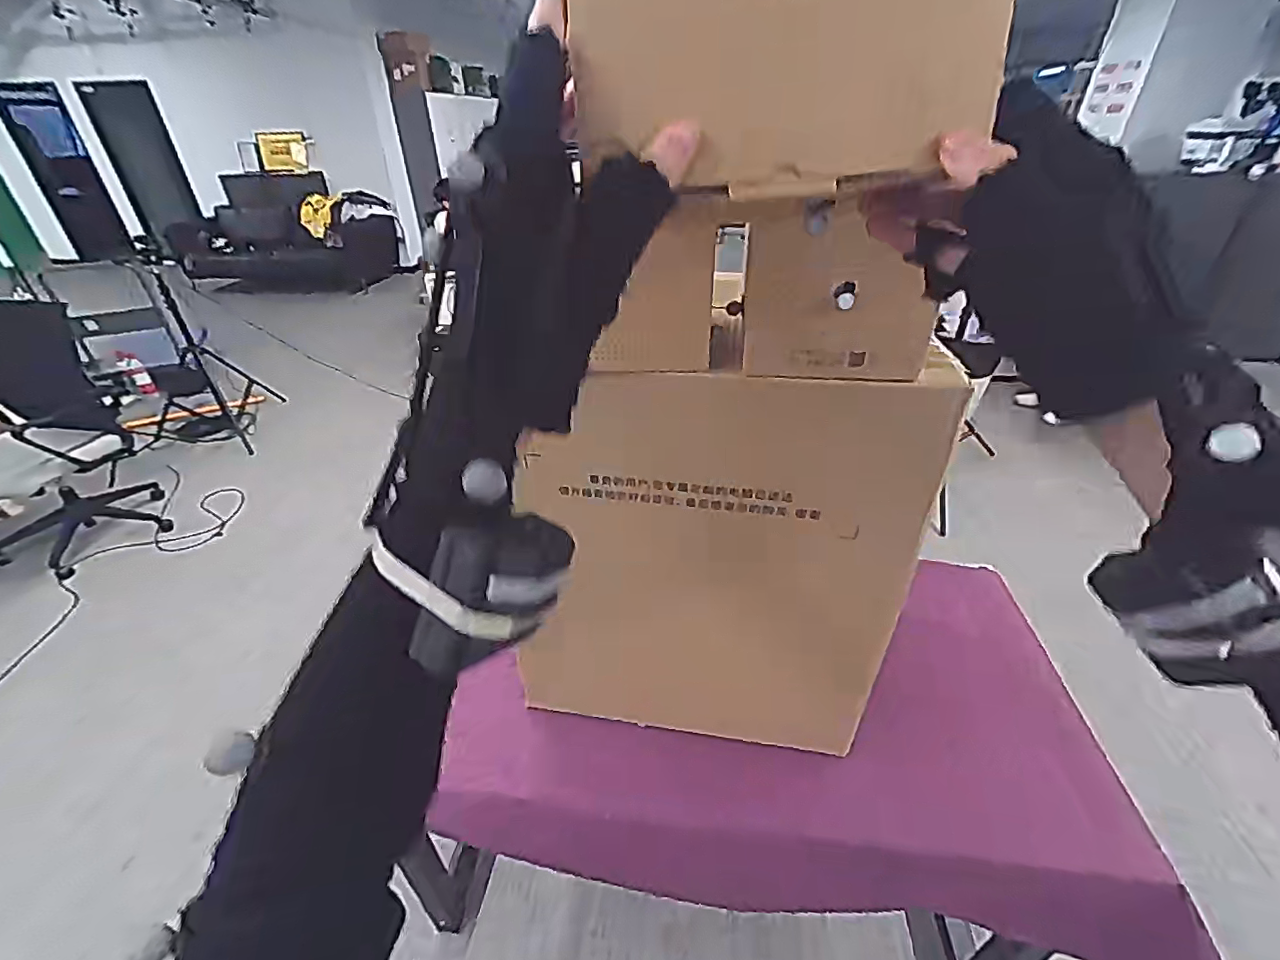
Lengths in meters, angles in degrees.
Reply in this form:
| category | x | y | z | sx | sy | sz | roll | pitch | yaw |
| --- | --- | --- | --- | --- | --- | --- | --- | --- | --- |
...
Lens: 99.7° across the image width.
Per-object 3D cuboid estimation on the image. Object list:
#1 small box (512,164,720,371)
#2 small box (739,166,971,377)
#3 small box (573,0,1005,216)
| category | x | y | z | sx | sy | sz | roll | pitch | yaw |
| --- | --- | --- | --- | --- | --- | --- | --- | --- | --- |
| small box | -0.014 | -0.220 | 0.556 | 0.179 | 0.176 | 0.168 | 0 | 35 | 3 |
| small box | 0.189 | -0.212 | 0.537 | 0.168 | 0.176 | 0.179 | 4 | 36 | 7 |
| small box | 0.055 | -0.237 | 0.271 | 0.168 | 0.179 | 0.176 | -4 | 19 | 1 |
